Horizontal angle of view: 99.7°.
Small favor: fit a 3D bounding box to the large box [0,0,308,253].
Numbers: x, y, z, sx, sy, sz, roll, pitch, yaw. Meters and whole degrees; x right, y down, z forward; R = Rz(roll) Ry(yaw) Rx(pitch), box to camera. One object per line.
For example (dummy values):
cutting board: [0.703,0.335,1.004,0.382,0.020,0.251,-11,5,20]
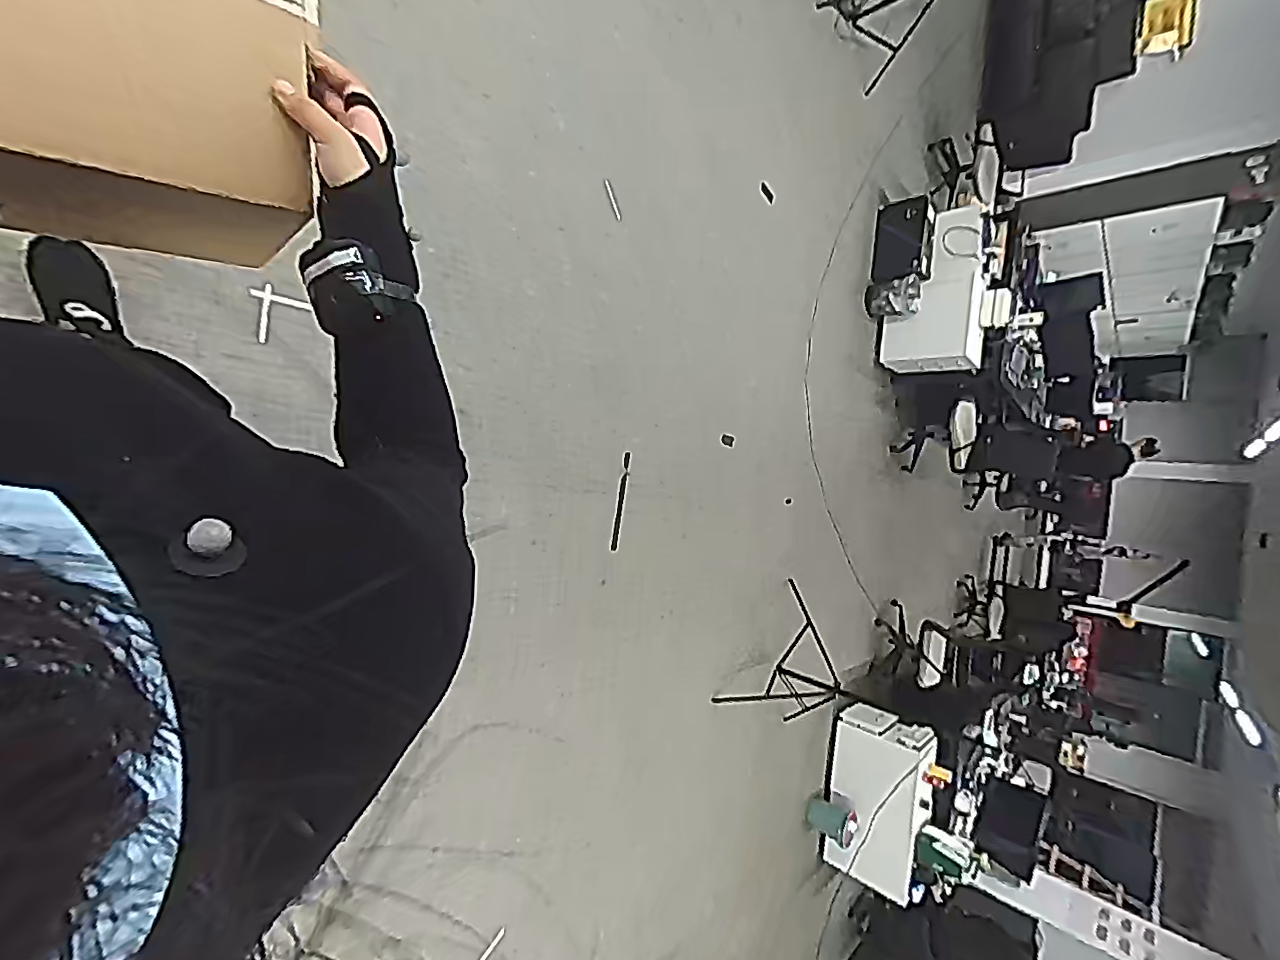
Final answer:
large box: [-0.523,-0.389,0.417,0.408,0.320,0.320,-6,101,-40]
